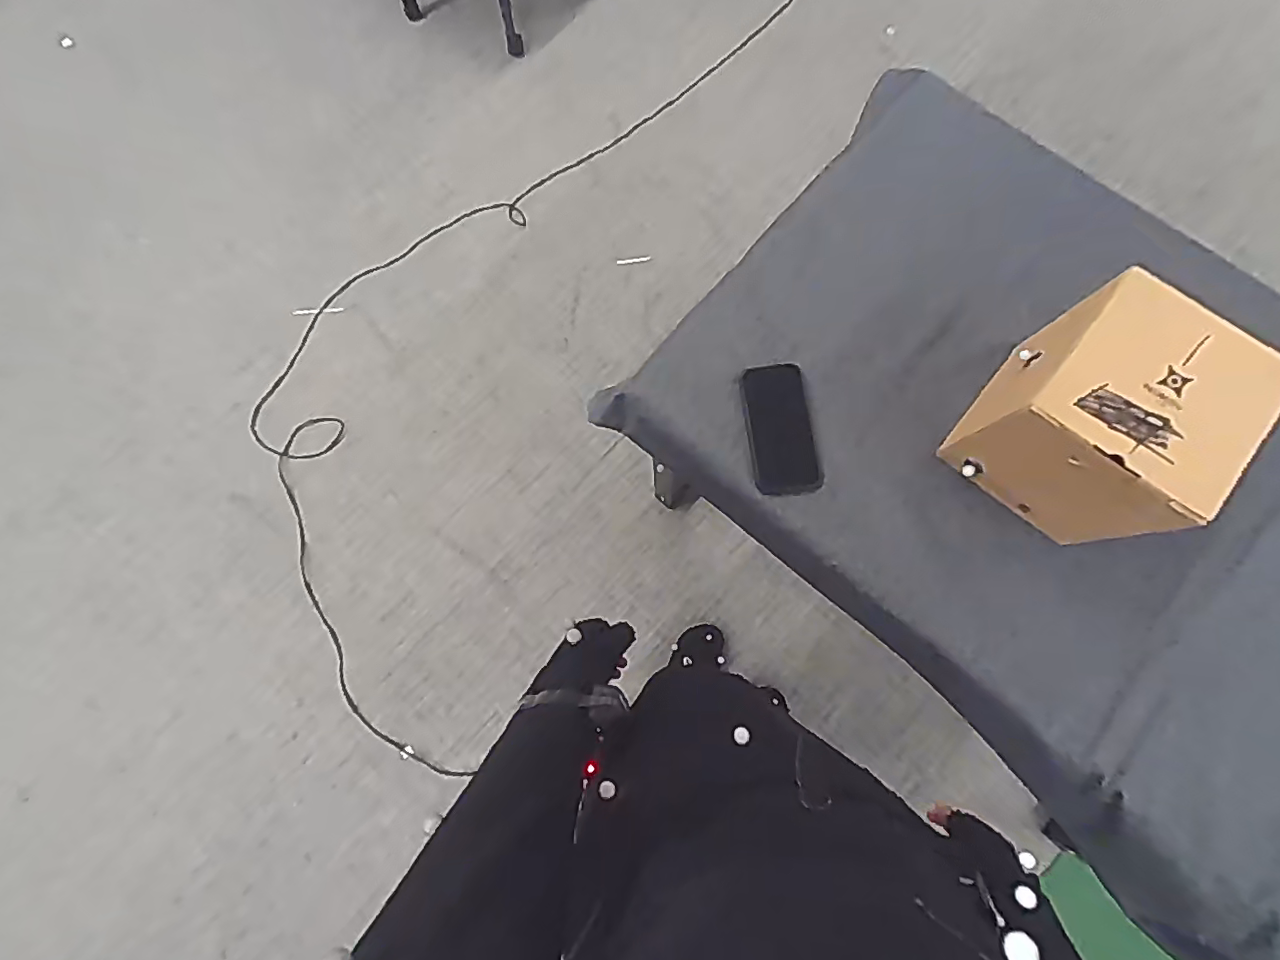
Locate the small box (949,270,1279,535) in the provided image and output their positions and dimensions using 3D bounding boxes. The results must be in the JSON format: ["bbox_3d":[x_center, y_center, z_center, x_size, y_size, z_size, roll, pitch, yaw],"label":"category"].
[{"bbox_3d":[0.456,-0.062,0.549,0.168,0.176,0.179,40,81,9],"label":"small box"}]
